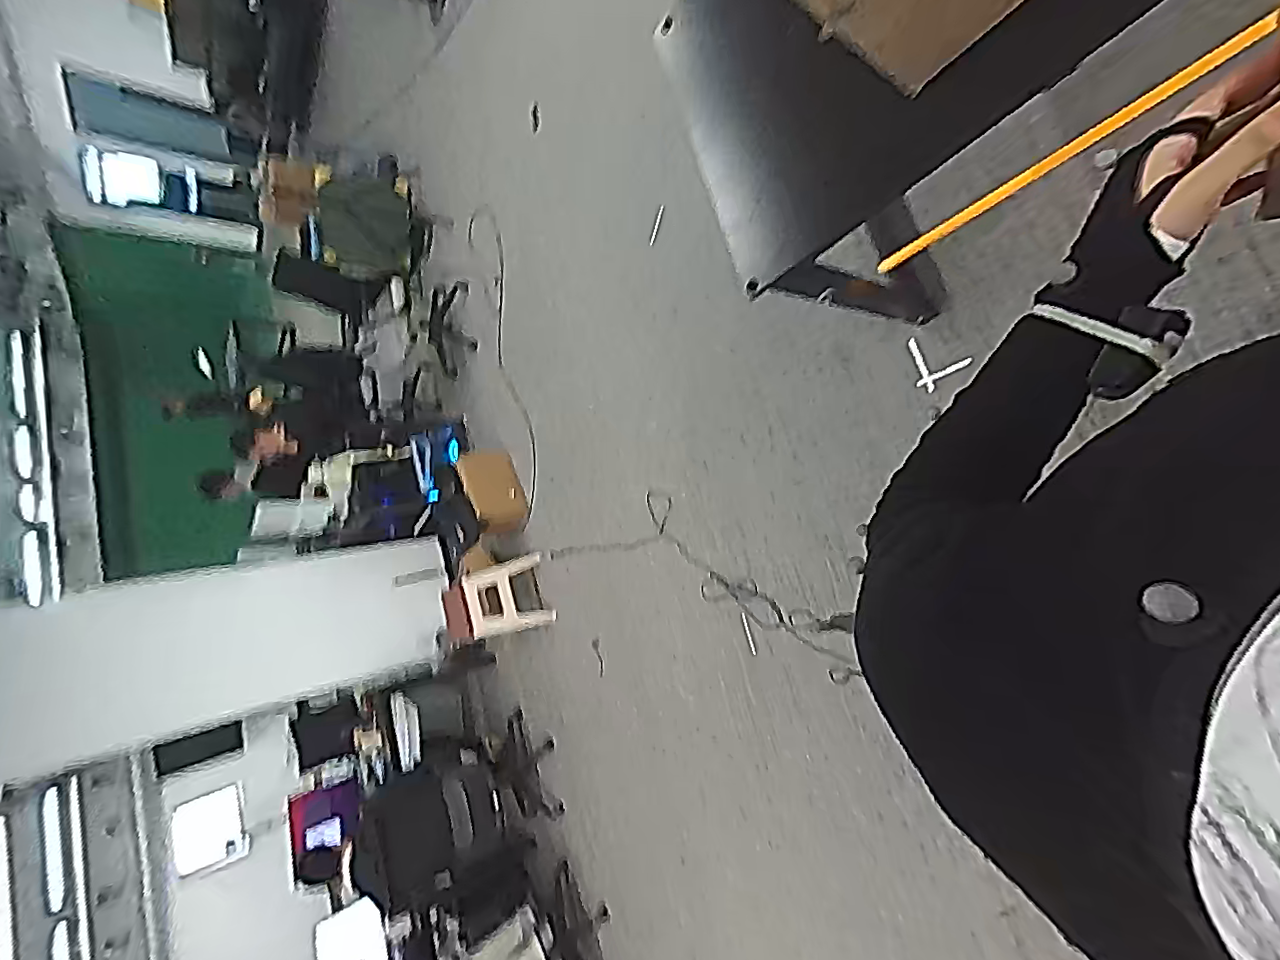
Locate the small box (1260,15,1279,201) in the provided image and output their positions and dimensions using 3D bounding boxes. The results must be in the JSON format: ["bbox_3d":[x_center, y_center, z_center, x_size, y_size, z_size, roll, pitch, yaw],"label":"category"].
[{"bbox_3d":[0.479,-0.273,0.299,0.168,0.176,0.179,6,101,45],"label":"small box"}]
